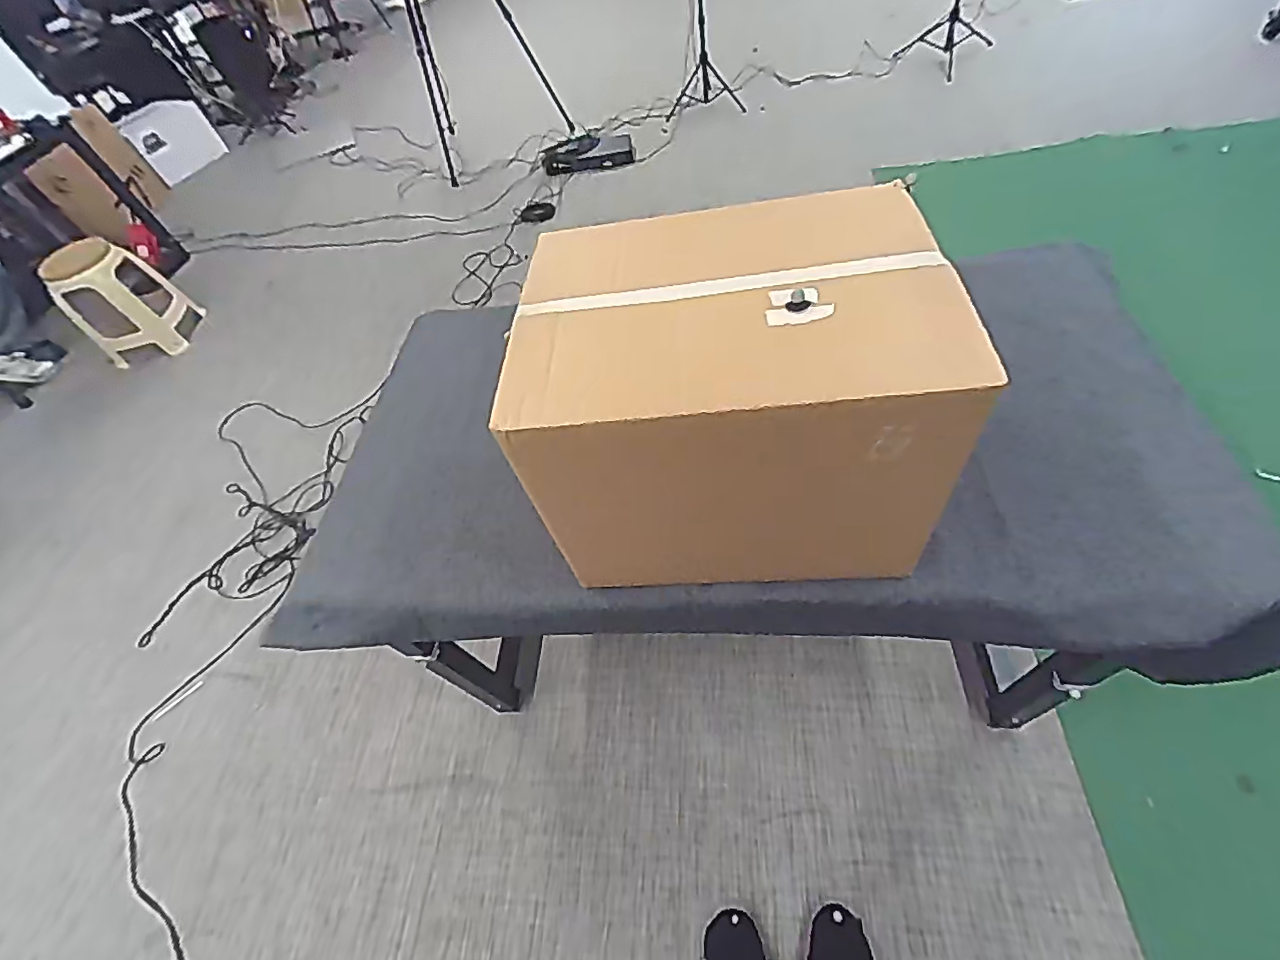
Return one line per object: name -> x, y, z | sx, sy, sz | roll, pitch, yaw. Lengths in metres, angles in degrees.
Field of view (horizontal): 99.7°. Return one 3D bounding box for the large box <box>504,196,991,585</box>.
large box -> 0.101, -0.087, 0.646 | 0.408, 0.320, 0.320 | -4, 53, 8
